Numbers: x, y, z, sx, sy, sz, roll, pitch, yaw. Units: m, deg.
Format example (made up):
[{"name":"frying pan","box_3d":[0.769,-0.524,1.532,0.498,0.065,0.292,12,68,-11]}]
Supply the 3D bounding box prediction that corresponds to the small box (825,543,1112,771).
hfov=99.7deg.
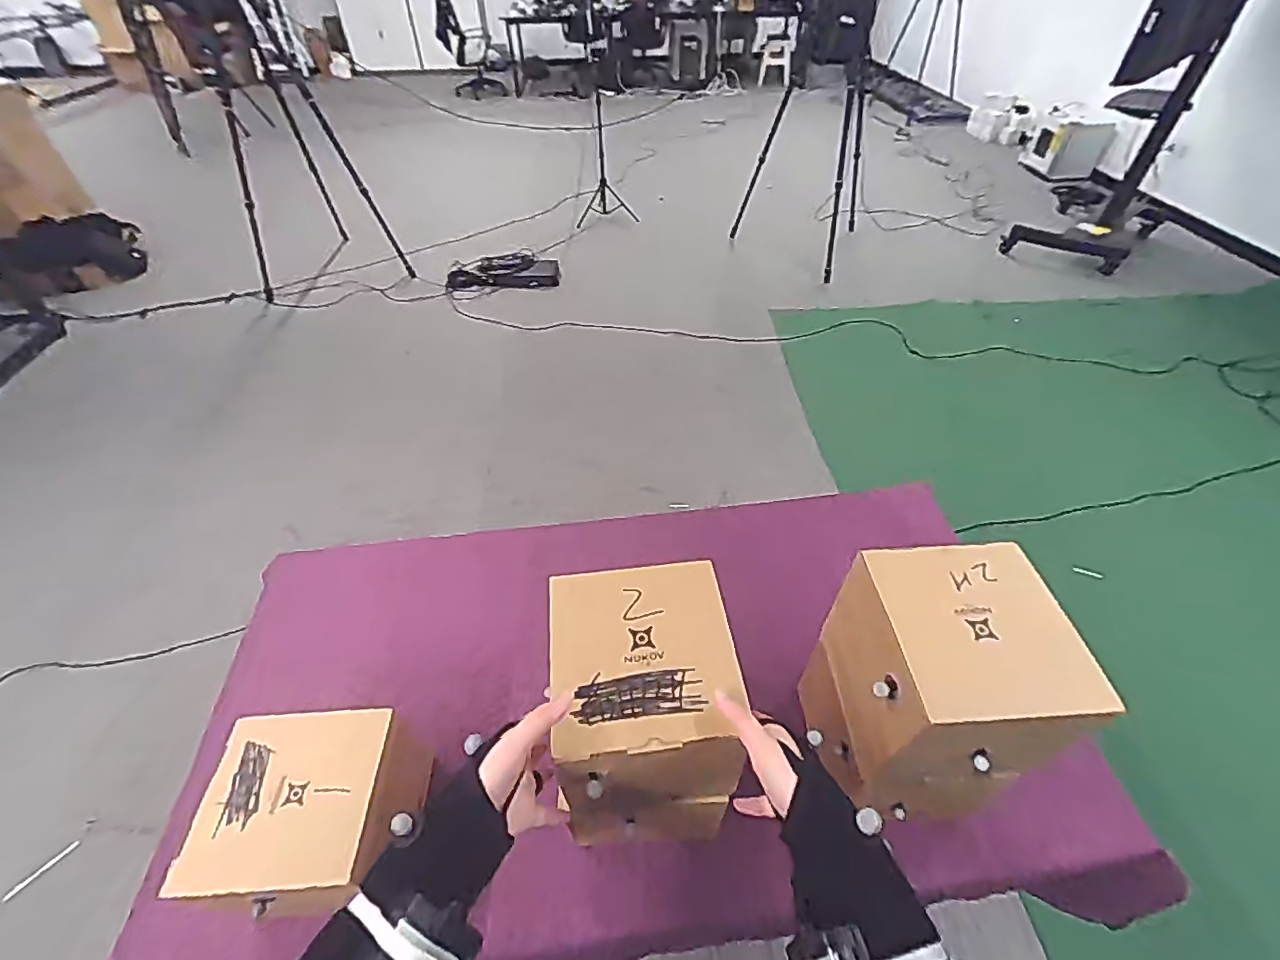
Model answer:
[{"name":"small box","box_3d":[0.311,0.187,0.561,0.168,0.176,0.179,-2,46,-2]}]

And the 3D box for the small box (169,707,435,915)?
[{"name":"small box","box_3d":[-0.358,0.379,0.617,0.179,0.176,0.168,-2,46,-2]}]

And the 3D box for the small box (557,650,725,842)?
[{"name":"small box","box_3d":[0.002,0.327,0.661,0.179,0.176,0.168,-3,46,-1]}]

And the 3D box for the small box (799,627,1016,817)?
[{"name":"small box","box_3d":[0.312,0.302,0.680,0.168,0.176,0.179,-2,46,0]}]
